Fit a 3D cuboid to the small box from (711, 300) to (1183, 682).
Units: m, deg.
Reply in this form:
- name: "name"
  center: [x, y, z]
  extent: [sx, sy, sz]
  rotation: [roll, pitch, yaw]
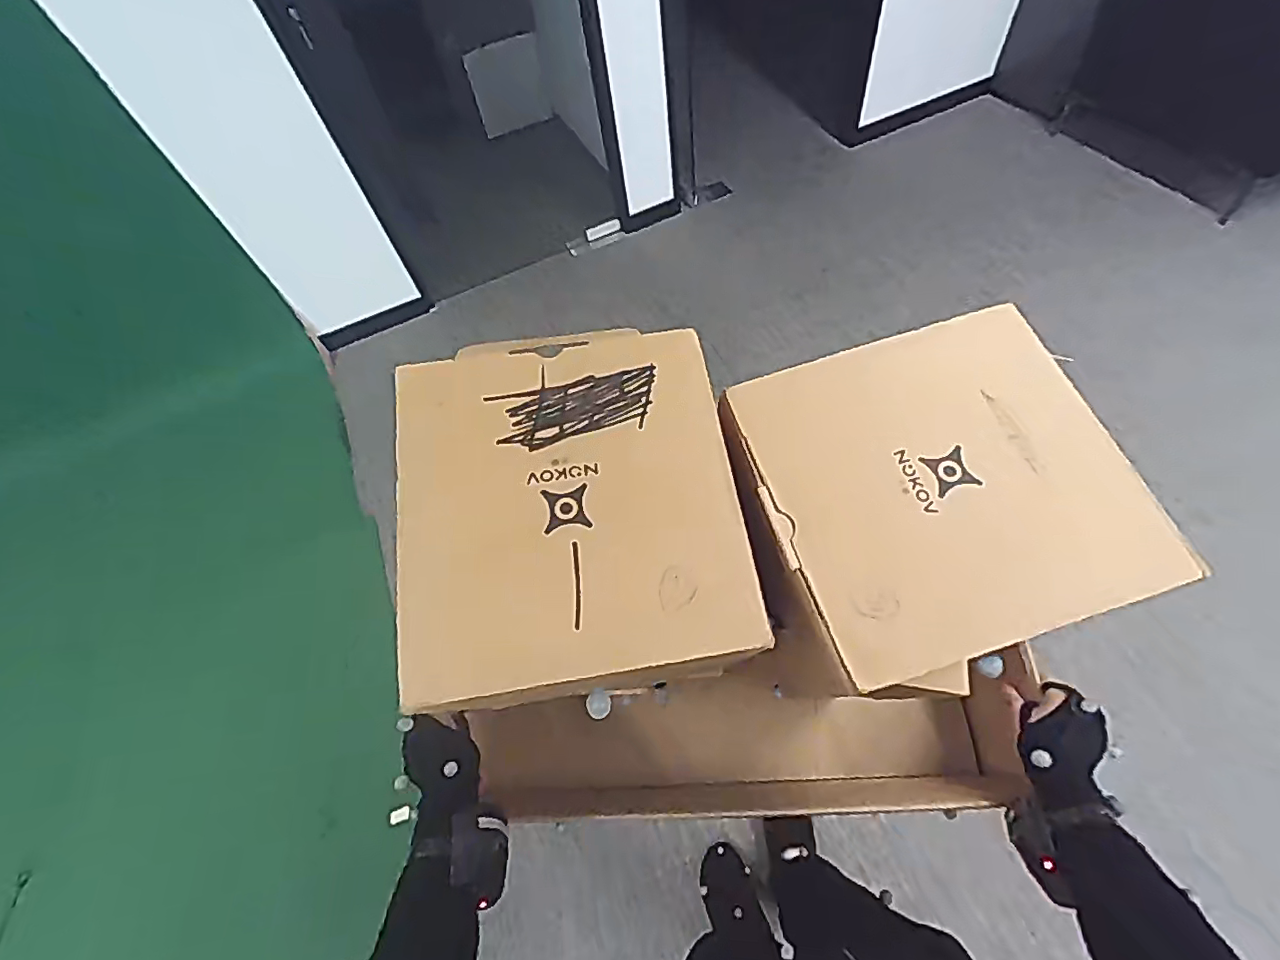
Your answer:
- name: "small box"
  center: [0.151, 0.022, 0.347]
  extent: [0.179, 0.176, 0.168]
  rotation: [-16, 67, -3]
